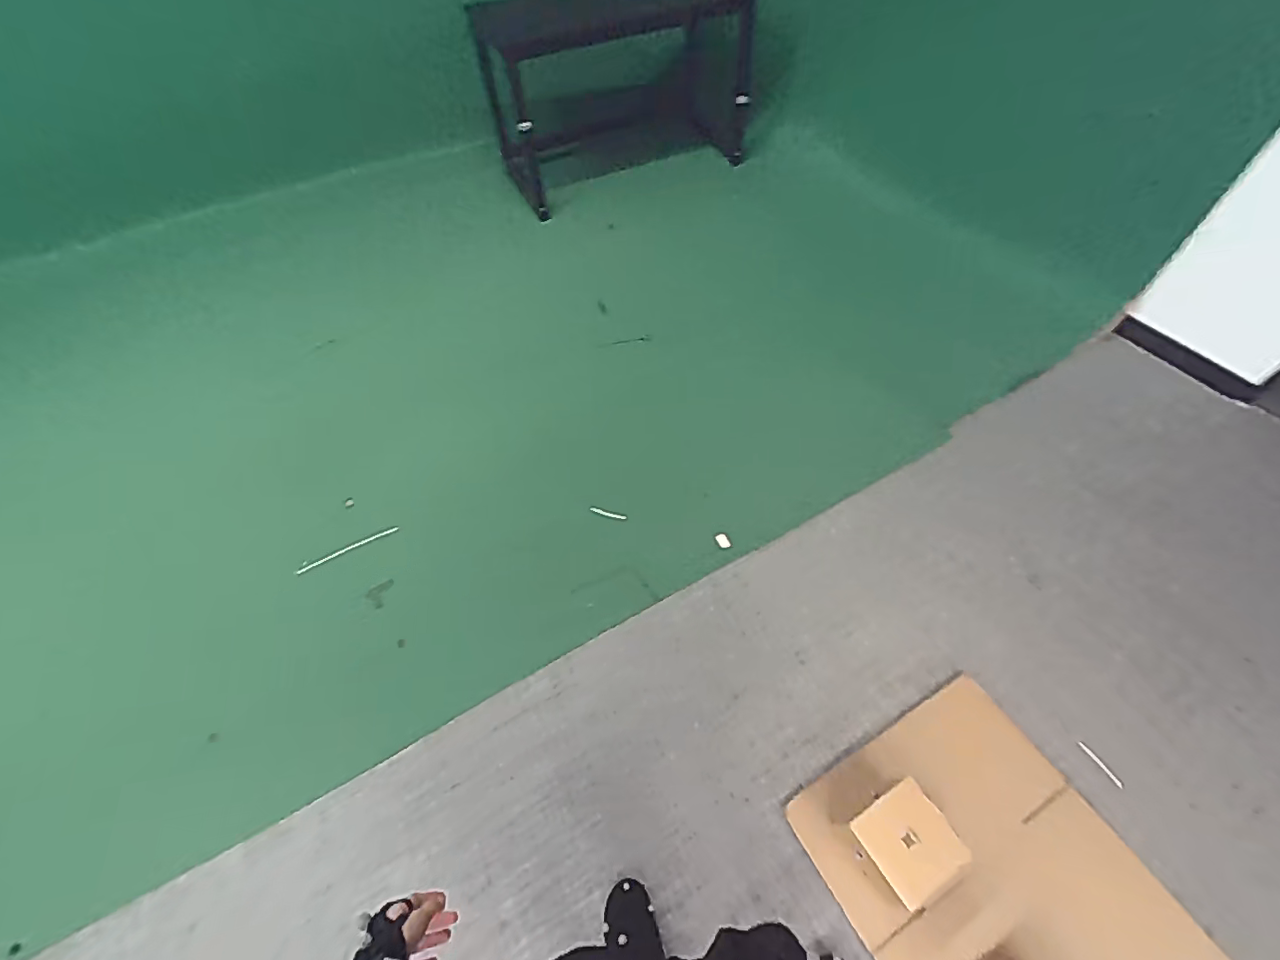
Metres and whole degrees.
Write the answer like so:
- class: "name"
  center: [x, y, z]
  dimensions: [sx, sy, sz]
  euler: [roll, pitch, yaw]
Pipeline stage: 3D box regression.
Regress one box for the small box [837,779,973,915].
- class: "small box"
  center: [0.537, 0.763, 1.129]
  dimensions: [0.179, 0.176, 0.168]
  euler: [-27, 58, -17]
